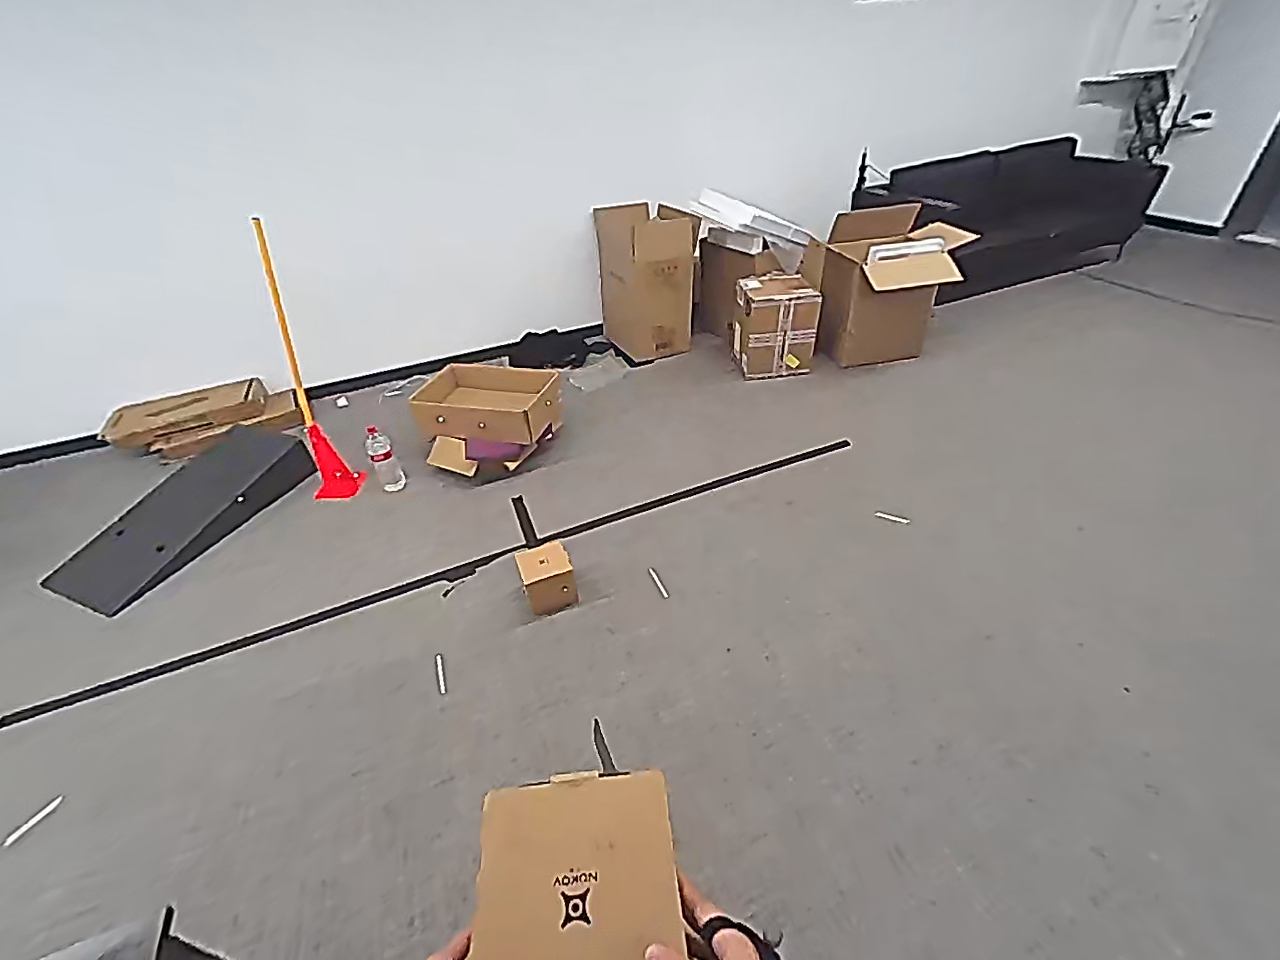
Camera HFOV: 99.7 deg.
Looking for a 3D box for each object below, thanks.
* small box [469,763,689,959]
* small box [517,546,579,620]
[{"bbox_3d":[-0.046,0.388,0.486,0.168,0.176,0.179,-7,41,-2],"label":"small box"},{"bbox_3d":[-0.329,0.374,1.959,0.179,0.176,0.168,-18,38,-16],"label":"small box"}]
